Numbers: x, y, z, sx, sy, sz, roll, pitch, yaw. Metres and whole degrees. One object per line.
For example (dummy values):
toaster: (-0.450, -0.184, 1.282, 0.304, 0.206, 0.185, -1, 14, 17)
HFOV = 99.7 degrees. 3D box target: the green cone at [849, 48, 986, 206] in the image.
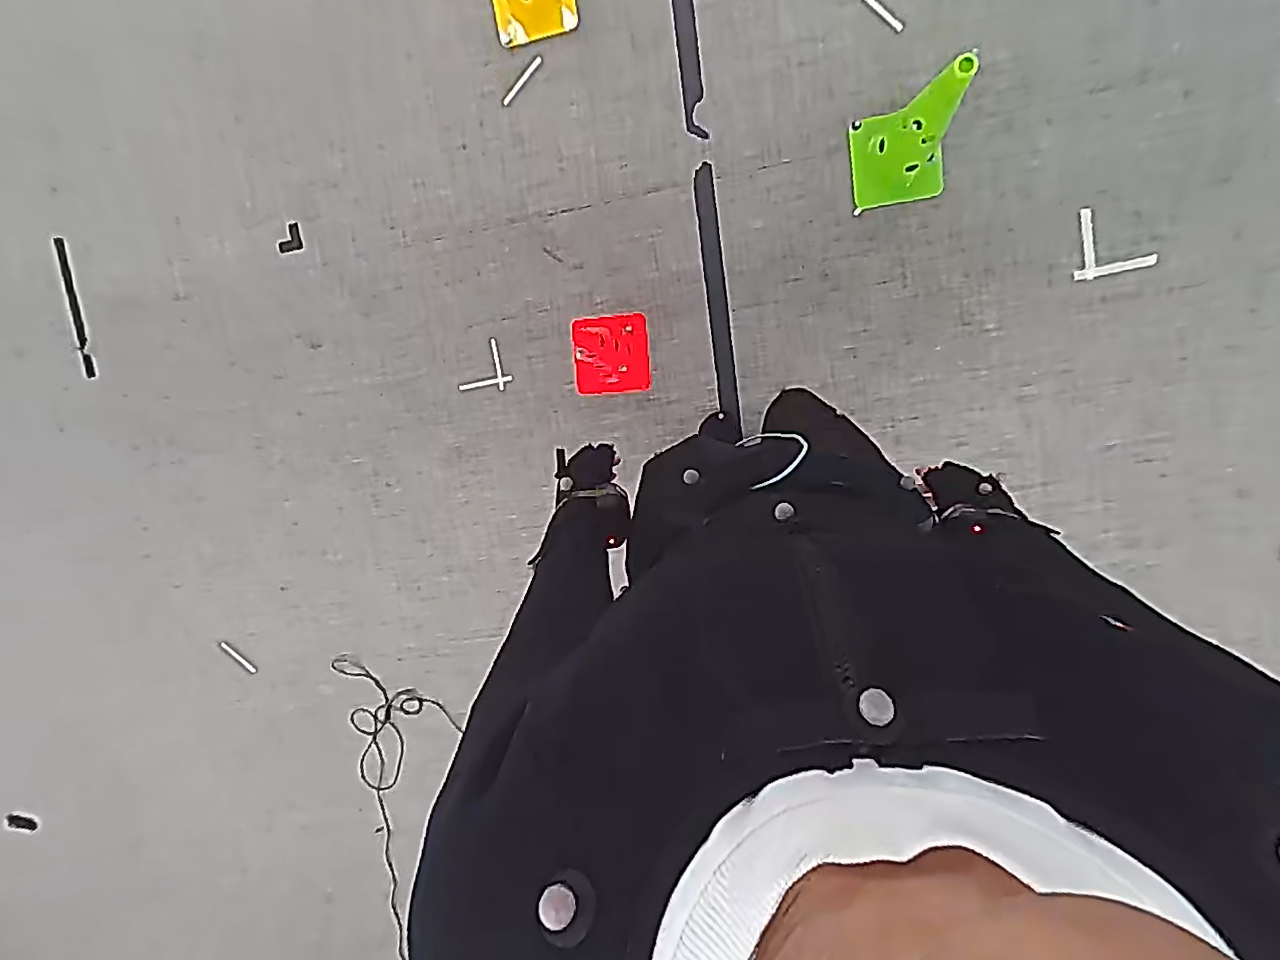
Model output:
green cone: (0.579, -0.731, 1.093, 0.202, 0.368, 0.200, -7, 97, 7)

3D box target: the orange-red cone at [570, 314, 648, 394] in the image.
orange-red cone: (-0.100, -0.307, 1.239, 0.199, 0.360, 0.198, -3, 96, 8)
